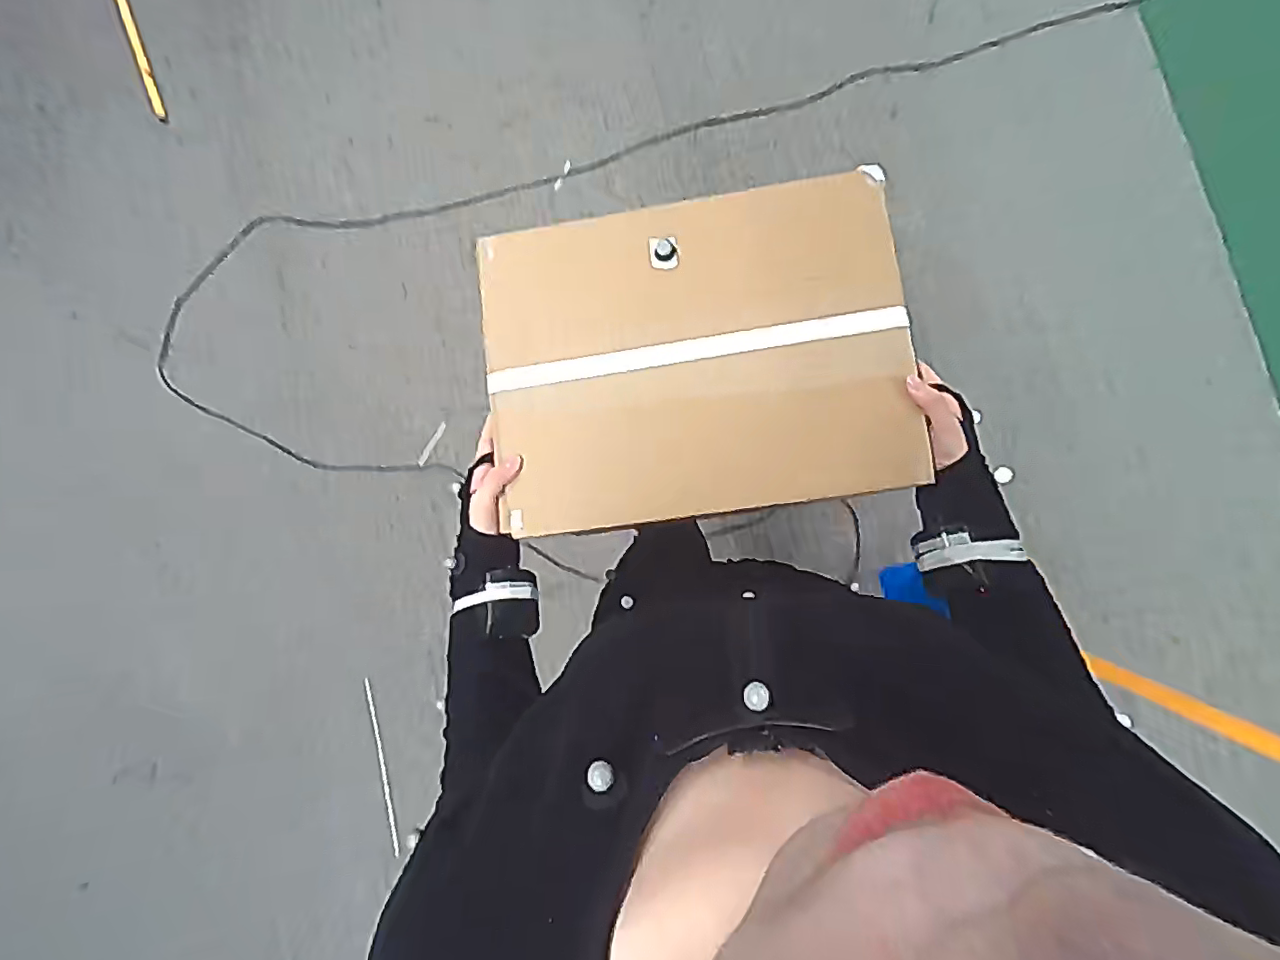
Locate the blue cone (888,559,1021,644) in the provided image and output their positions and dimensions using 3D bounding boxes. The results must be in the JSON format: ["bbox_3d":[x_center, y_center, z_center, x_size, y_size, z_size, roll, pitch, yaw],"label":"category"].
[{"bbox_3d":[0.739,0.299,1.223,0.192,0.380,0.193,-16,85,4],"label":"blue cone"}]
